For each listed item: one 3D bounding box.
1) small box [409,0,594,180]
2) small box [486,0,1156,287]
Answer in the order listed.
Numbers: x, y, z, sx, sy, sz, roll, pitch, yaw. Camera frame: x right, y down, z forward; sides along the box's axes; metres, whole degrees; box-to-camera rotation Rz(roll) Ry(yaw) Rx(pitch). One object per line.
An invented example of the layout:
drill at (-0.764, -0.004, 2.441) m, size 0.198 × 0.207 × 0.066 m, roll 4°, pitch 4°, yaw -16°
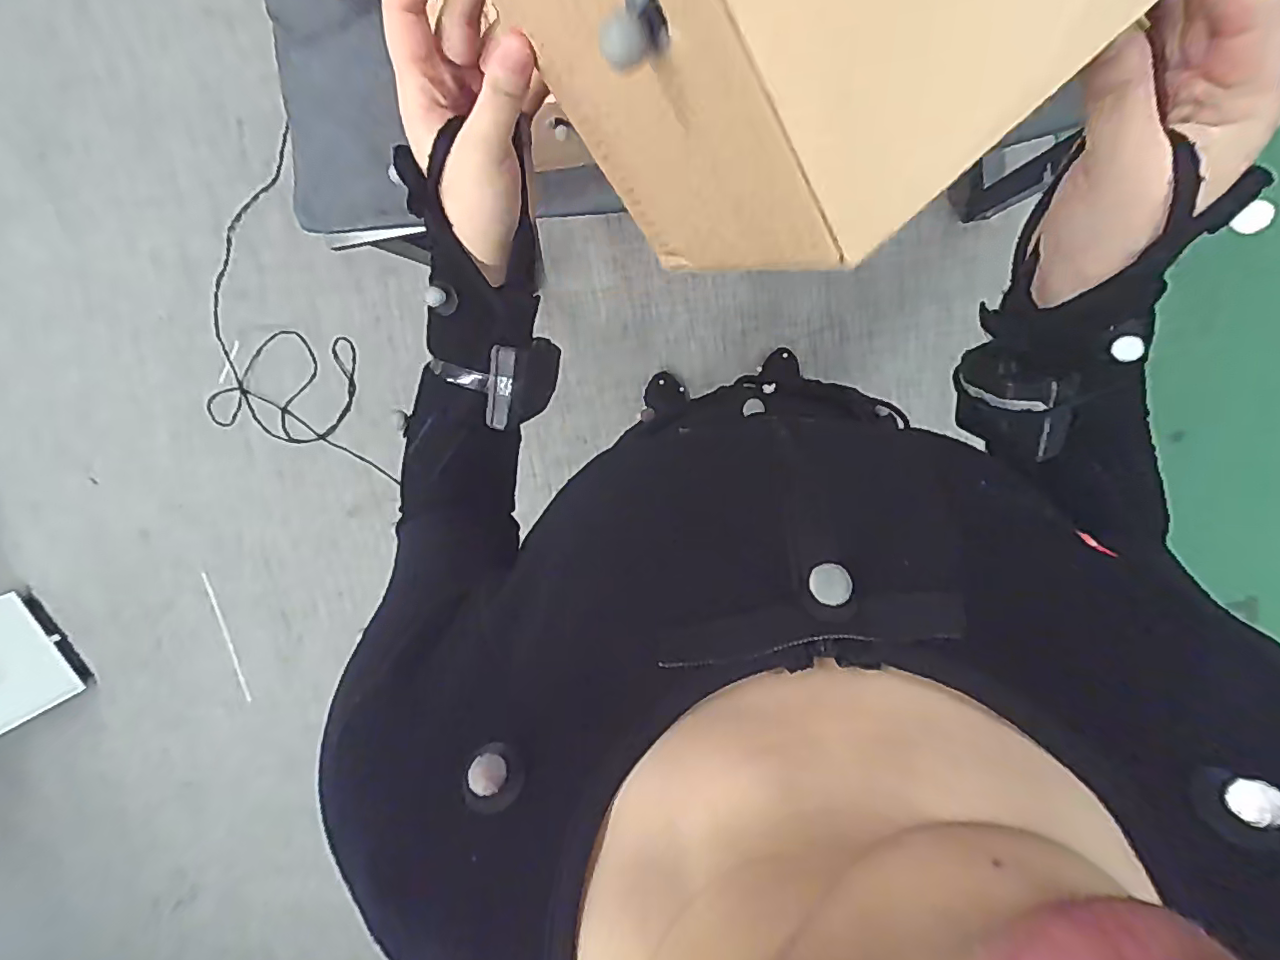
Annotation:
small box at (-0.125, -0.453, 0.594) m, size 0.179 × 0.176 × 0.168 m, roll -4°, pitch 101°, yaw 8°
small box at (0.052, -0.206, 0.219) m, size 0.168 × 0.176 × 0.179 m, roll -42°, pitch 118°, yaw 2°
